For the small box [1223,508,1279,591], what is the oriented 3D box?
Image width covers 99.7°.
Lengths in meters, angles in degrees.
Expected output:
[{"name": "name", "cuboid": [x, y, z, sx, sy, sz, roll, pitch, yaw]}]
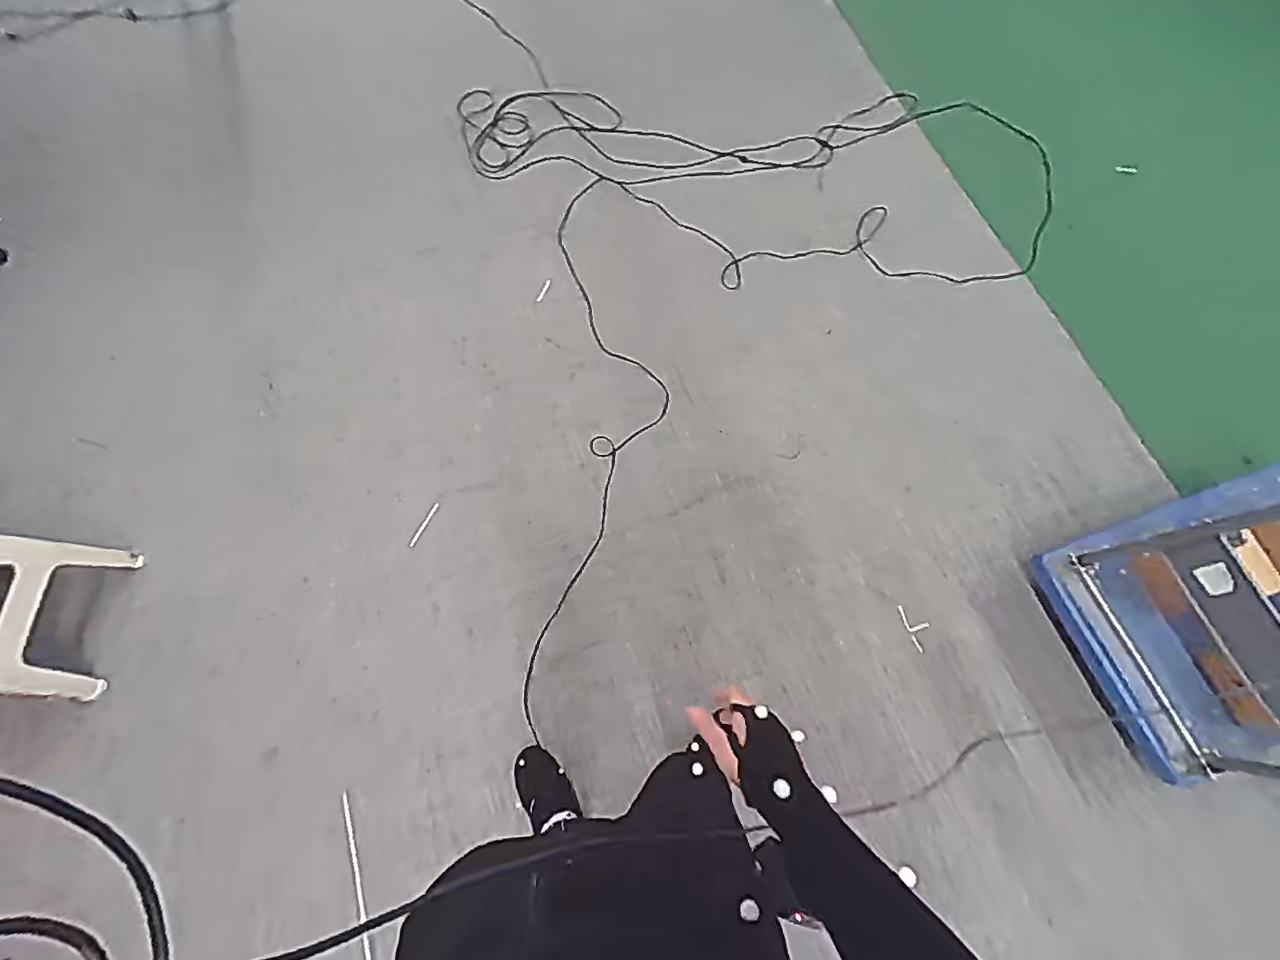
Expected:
[{"name": "small box", "cuboid": [1.621, 0.160, 1.334, 0.179, 0.176, 0.168, -21, 72, -8]}]

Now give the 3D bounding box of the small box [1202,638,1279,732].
[{"name": "small box", "cuboid": [1.462, 0.458, 1.222, 0.179, 0.176, 0.168, -17, 71, -6]}]
